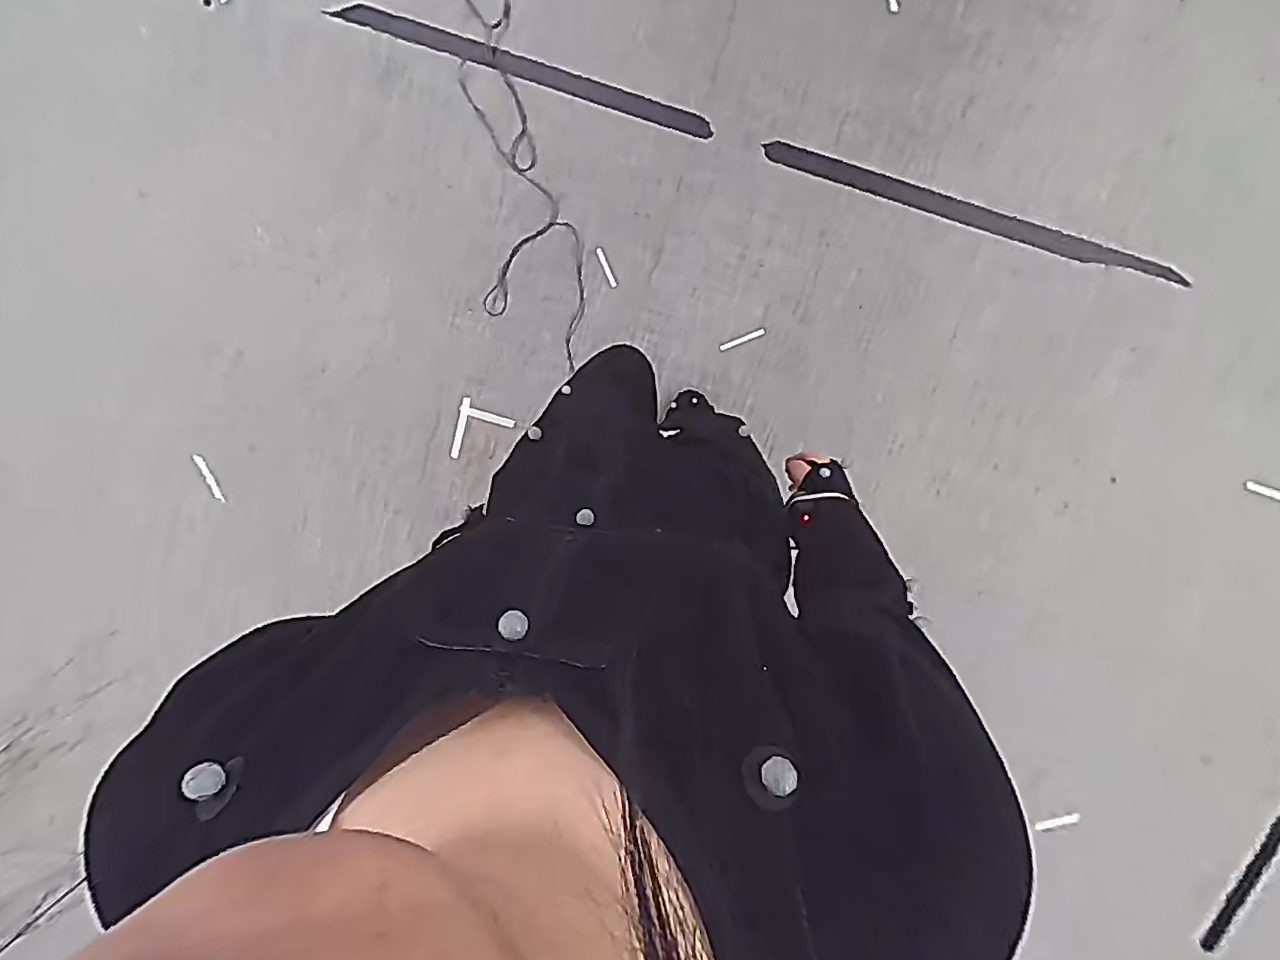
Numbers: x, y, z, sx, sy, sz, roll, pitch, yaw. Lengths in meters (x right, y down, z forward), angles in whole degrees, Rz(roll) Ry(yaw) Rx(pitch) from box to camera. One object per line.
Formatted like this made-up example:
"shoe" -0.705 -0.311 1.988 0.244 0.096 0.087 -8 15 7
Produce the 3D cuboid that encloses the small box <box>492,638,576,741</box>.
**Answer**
"small box" -0.277 0.552 1.446 0.168 0.176 0.179 13 99 2
